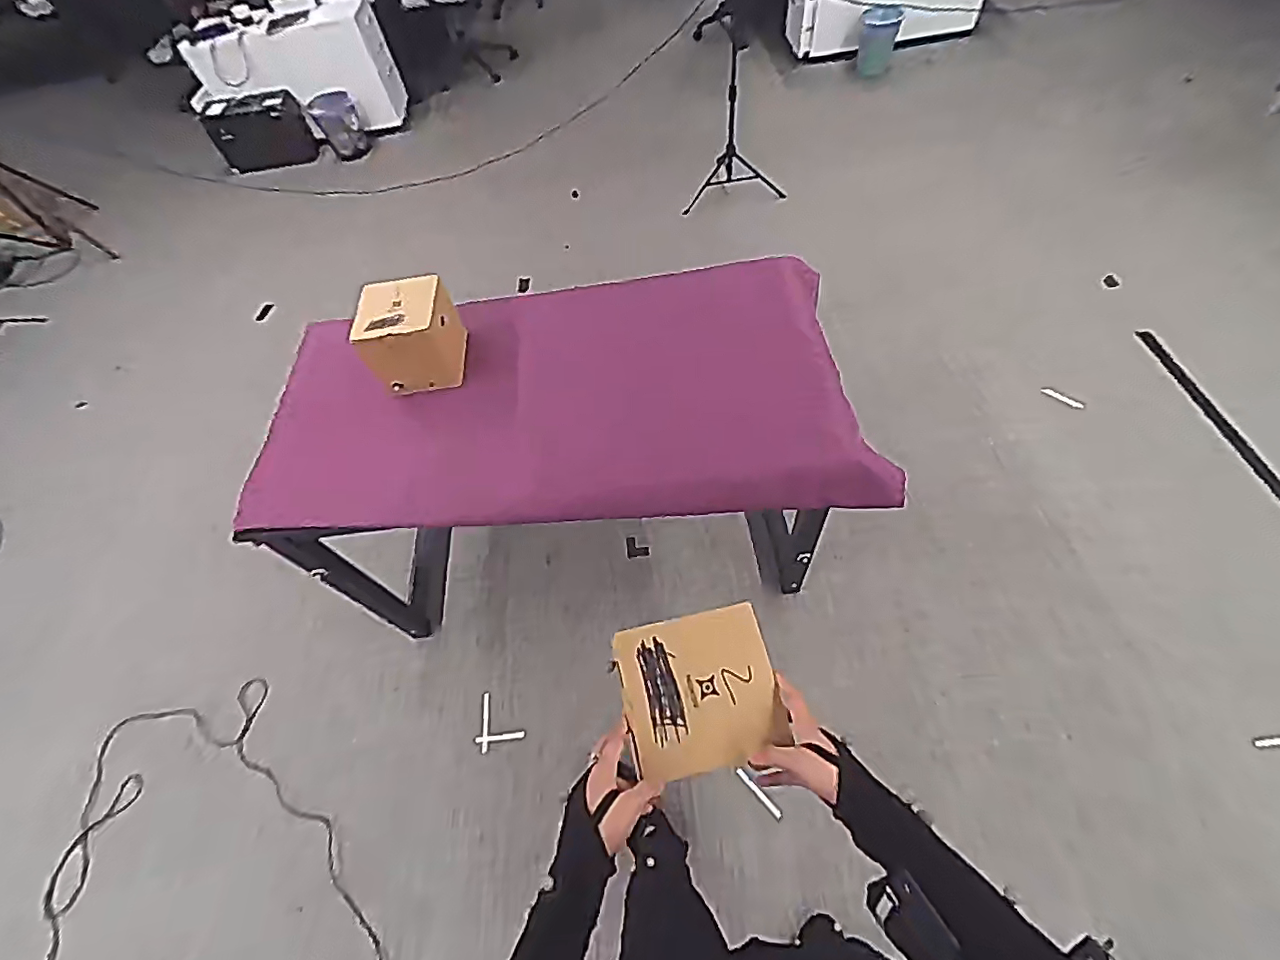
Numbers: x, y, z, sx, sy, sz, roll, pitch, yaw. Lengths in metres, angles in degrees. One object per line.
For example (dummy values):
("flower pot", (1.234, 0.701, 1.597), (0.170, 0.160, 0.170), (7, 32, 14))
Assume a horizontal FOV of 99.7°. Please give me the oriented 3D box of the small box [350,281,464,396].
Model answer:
("small box", (-0.498, -0.301, 1.183), (0.168, 0.176, 0.179), (-8, 57, 2))
